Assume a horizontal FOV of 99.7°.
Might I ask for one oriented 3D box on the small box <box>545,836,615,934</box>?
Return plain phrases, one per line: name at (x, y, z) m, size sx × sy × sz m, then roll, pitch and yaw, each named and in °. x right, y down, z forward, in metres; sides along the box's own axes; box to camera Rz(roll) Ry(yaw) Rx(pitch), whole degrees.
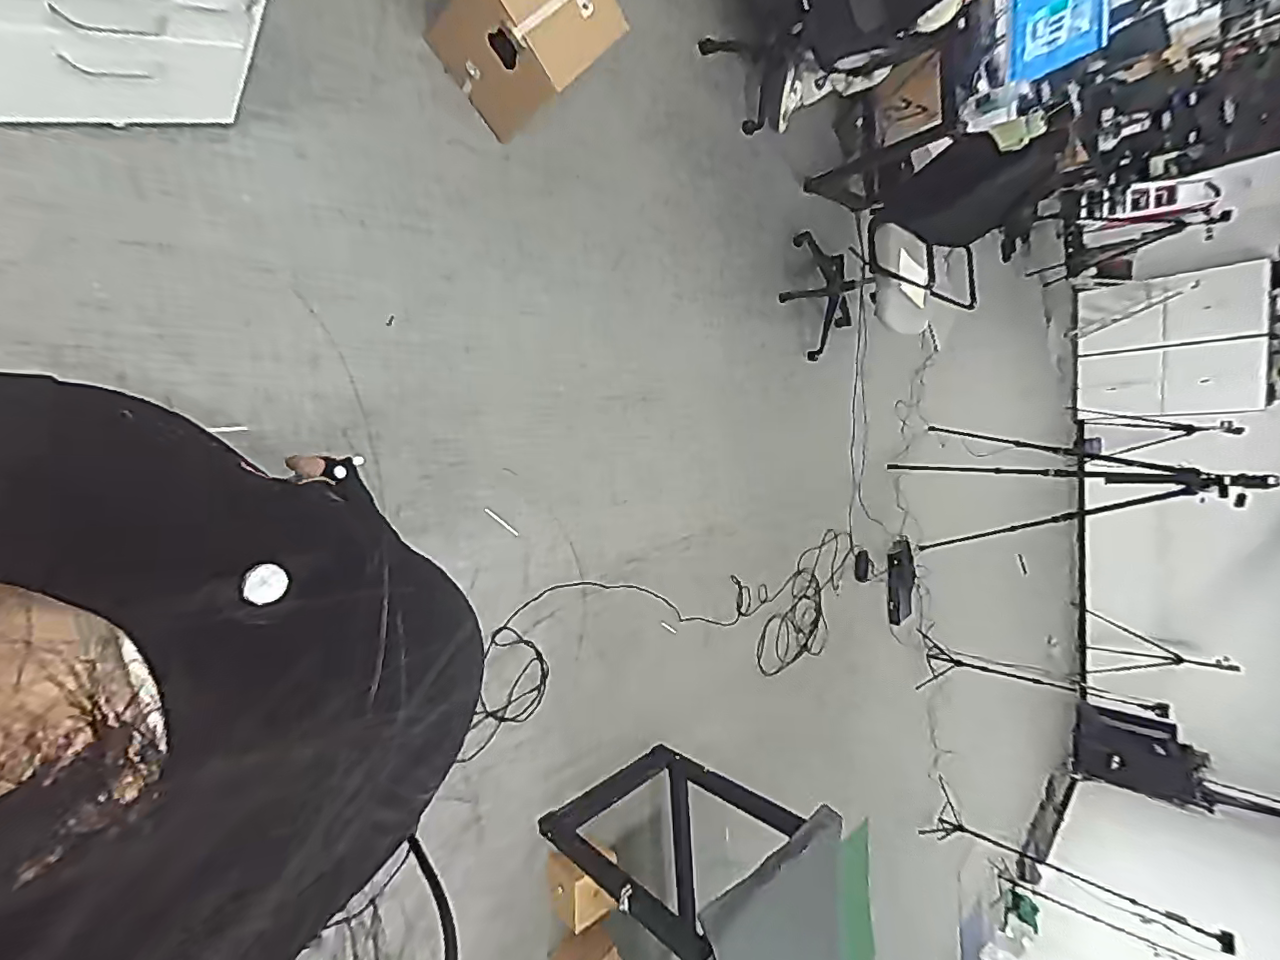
small box at (-0.205, 1.342, 1.804) m, size 0.179 × 0.176 × 0.168 m, roll -2°, pitch 91°, yaw -43°
